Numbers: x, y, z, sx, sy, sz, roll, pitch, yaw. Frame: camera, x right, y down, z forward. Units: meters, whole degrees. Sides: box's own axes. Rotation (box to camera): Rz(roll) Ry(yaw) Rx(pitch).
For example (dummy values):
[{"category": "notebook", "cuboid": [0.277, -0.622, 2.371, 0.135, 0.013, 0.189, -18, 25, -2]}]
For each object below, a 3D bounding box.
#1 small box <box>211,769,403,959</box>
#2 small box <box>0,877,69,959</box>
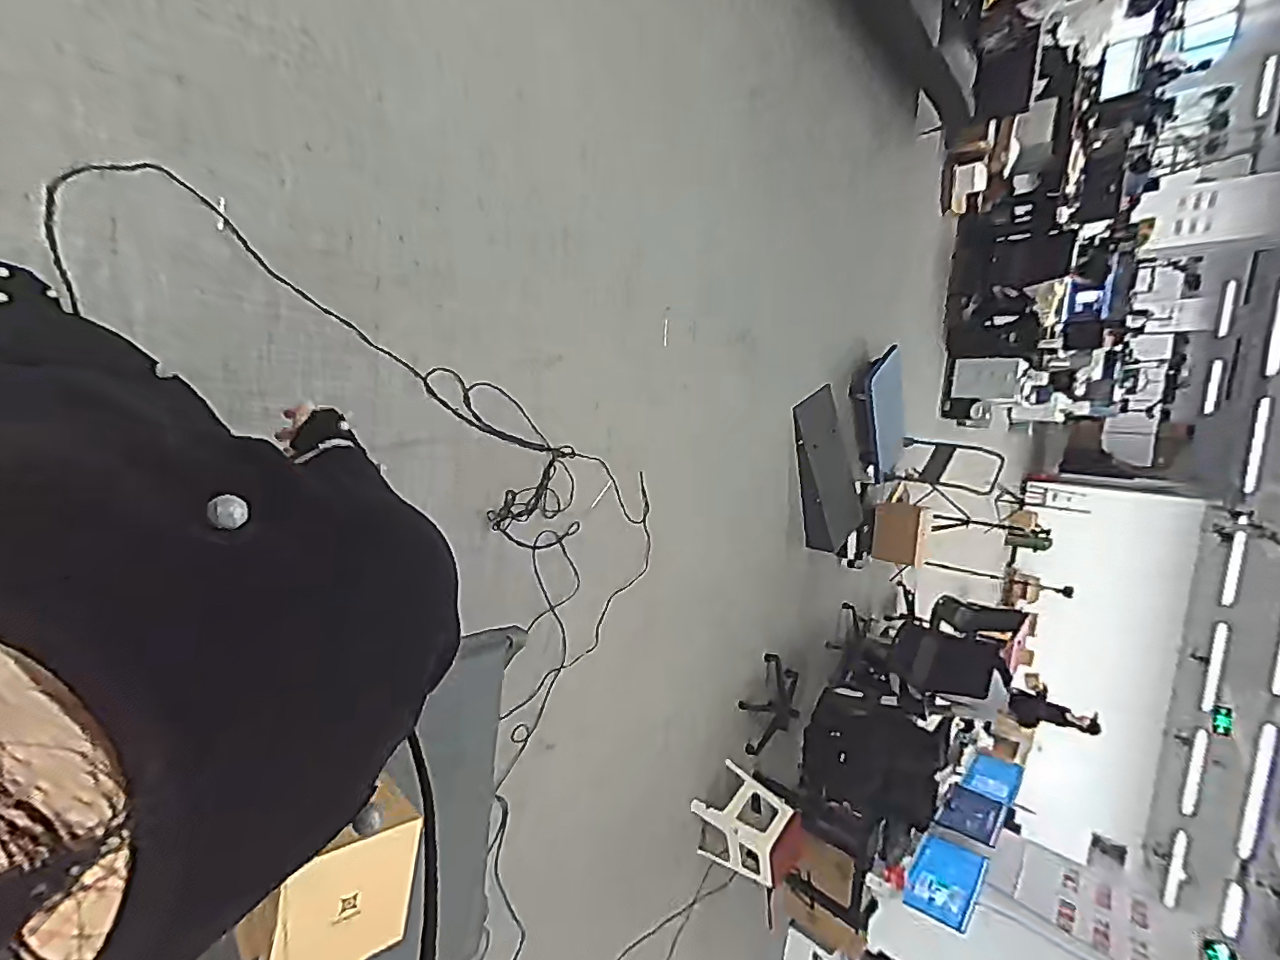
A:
[{"category": "small box", "cuboid": [-0.445, 0.517, 0.720, 0.168, 0.176, 0.179, 8, 93, -49]}, {"category": "small box", "cuboid": [-0.643, 0.526, 0.493, 0.168, 0.176, 0.179, 0, 98, -49]}]
